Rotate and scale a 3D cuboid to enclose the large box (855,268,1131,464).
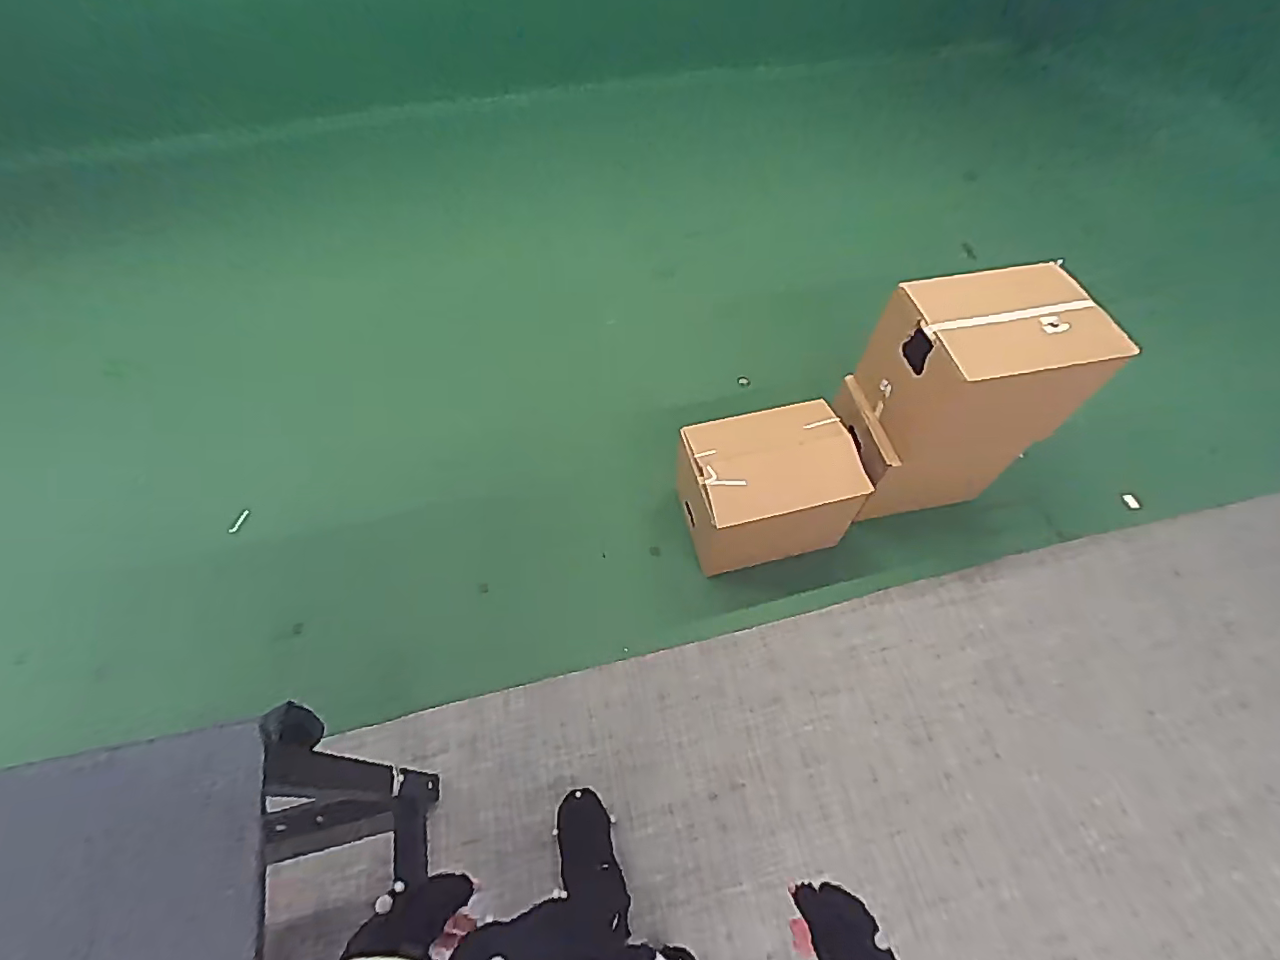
[{"bbox_3d":[0.819,-0.273,1.325,0.408,0.320,0.320,-10,59,-7],"label":"large box"}]
